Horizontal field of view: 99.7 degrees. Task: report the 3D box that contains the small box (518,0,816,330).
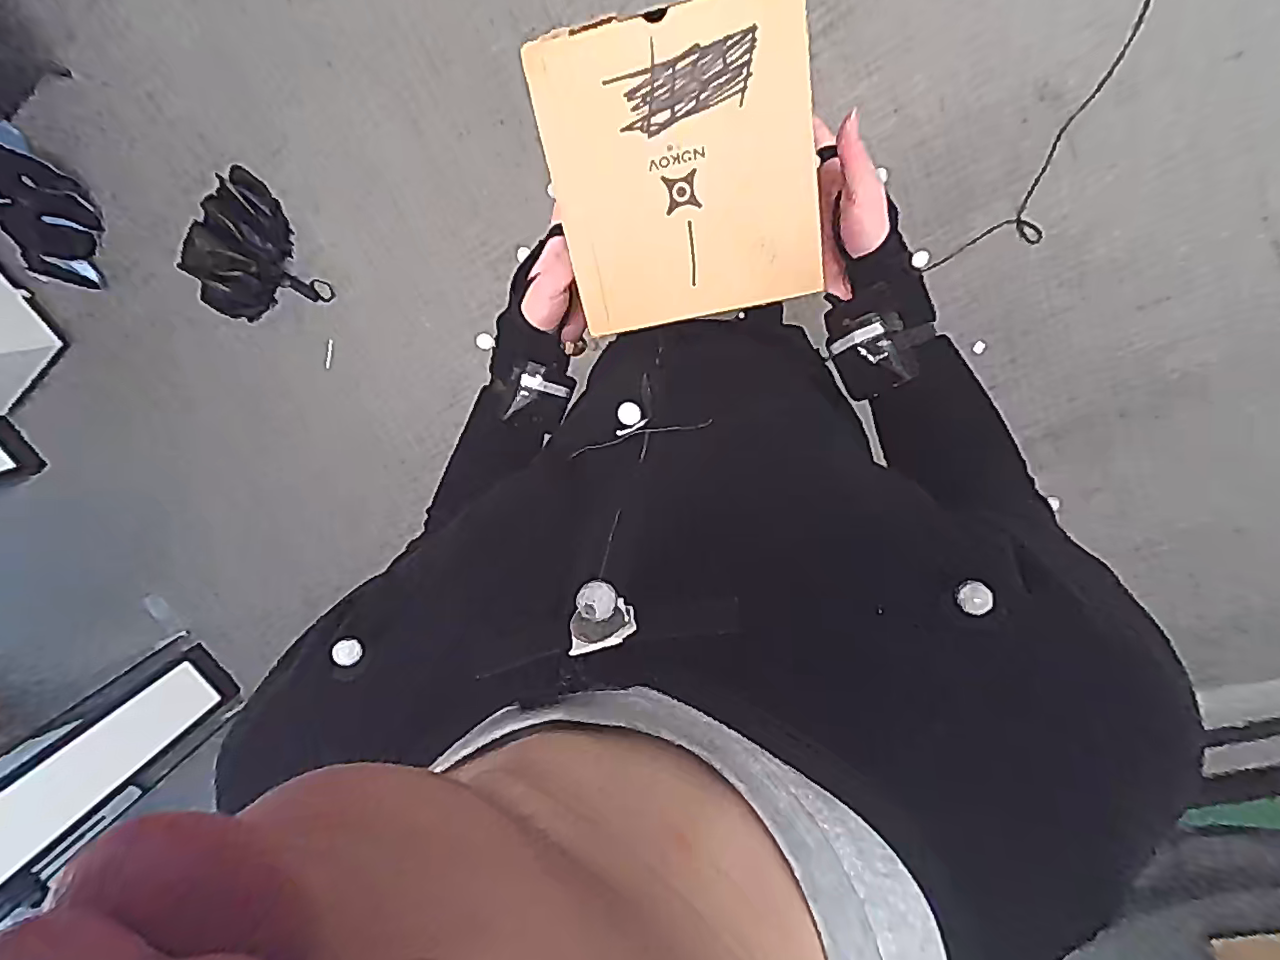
[{"bbox_3d":[0.030,-0.228,0.409,0.168,0.176,0.179,-8,115,11],"label":"small box"}]
